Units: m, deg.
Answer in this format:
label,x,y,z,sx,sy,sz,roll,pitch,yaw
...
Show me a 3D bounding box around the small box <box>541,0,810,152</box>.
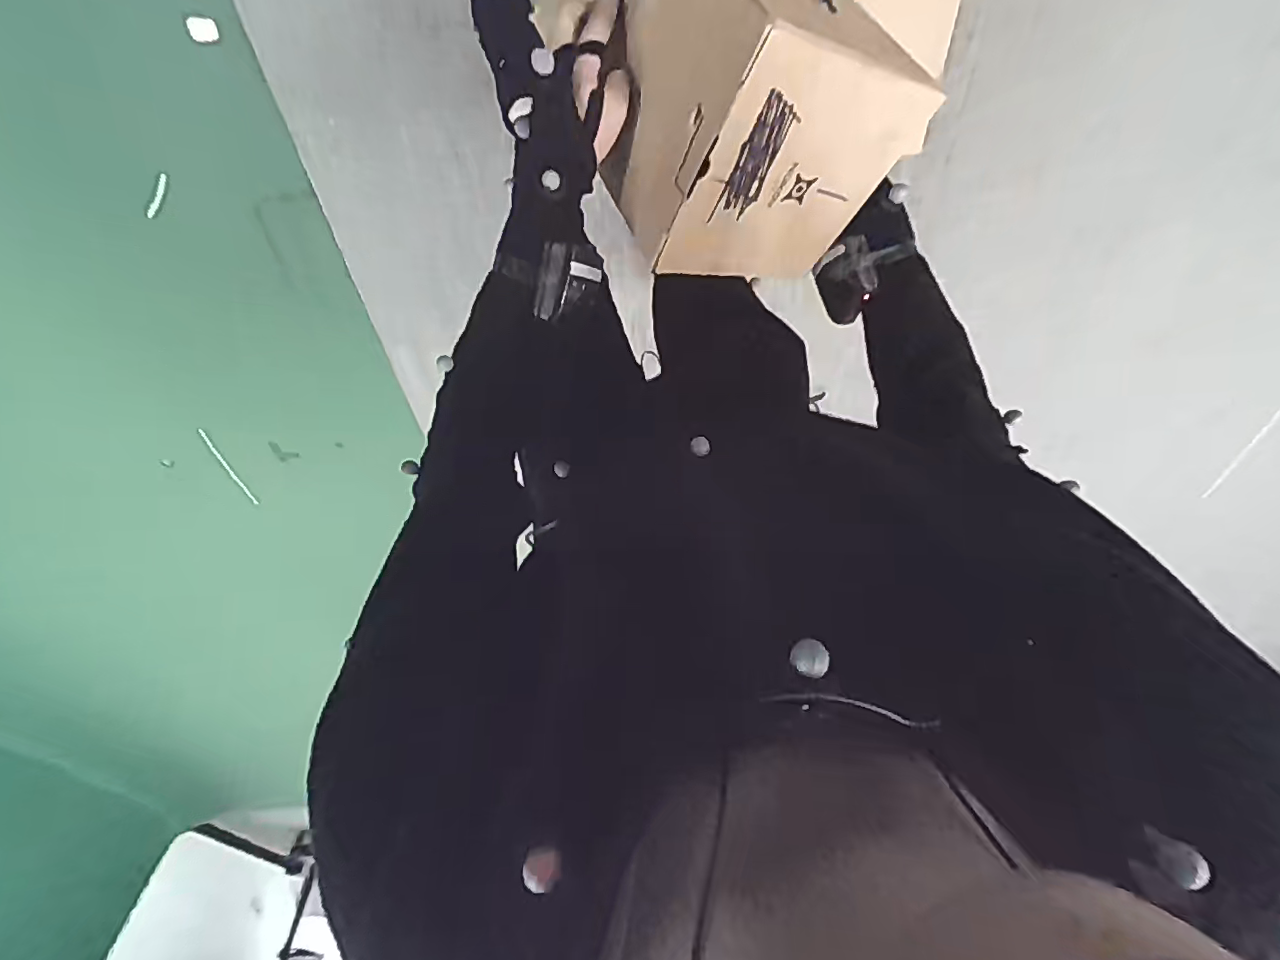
label,x,y,z,sx,sy,sz,roll,pitch,yaw
small box,0.024,-0.432,0.468,0.168,0.176,0.179,-8,152,-31
